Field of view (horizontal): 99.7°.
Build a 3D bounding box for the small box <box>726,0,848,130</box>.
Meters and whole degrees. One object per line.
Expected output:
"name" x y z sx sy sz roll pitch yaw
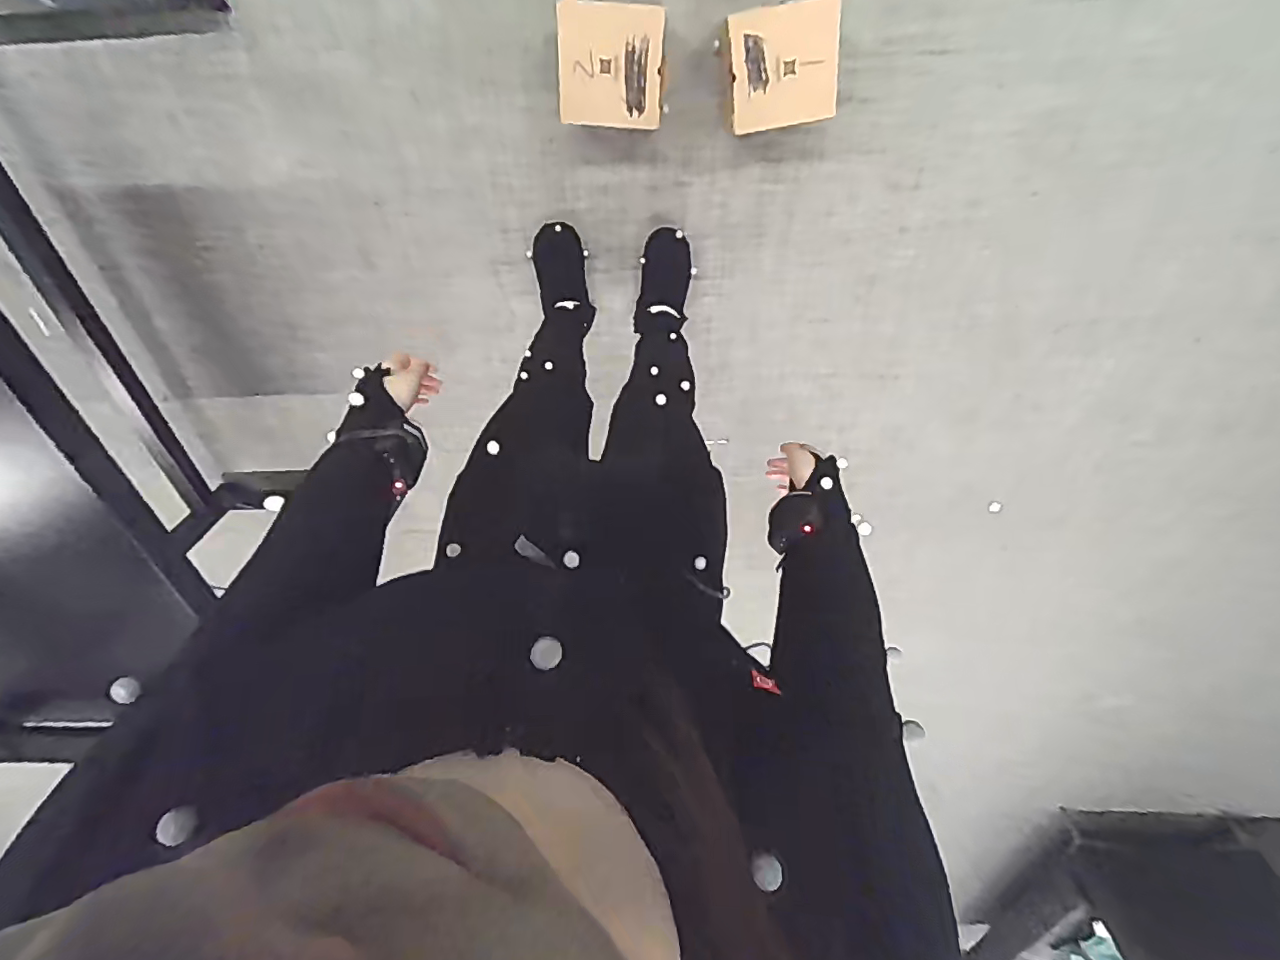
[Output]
"small box" 0.243 -0.719 0.933 0.179 0.176 0.168 -6 128 6
